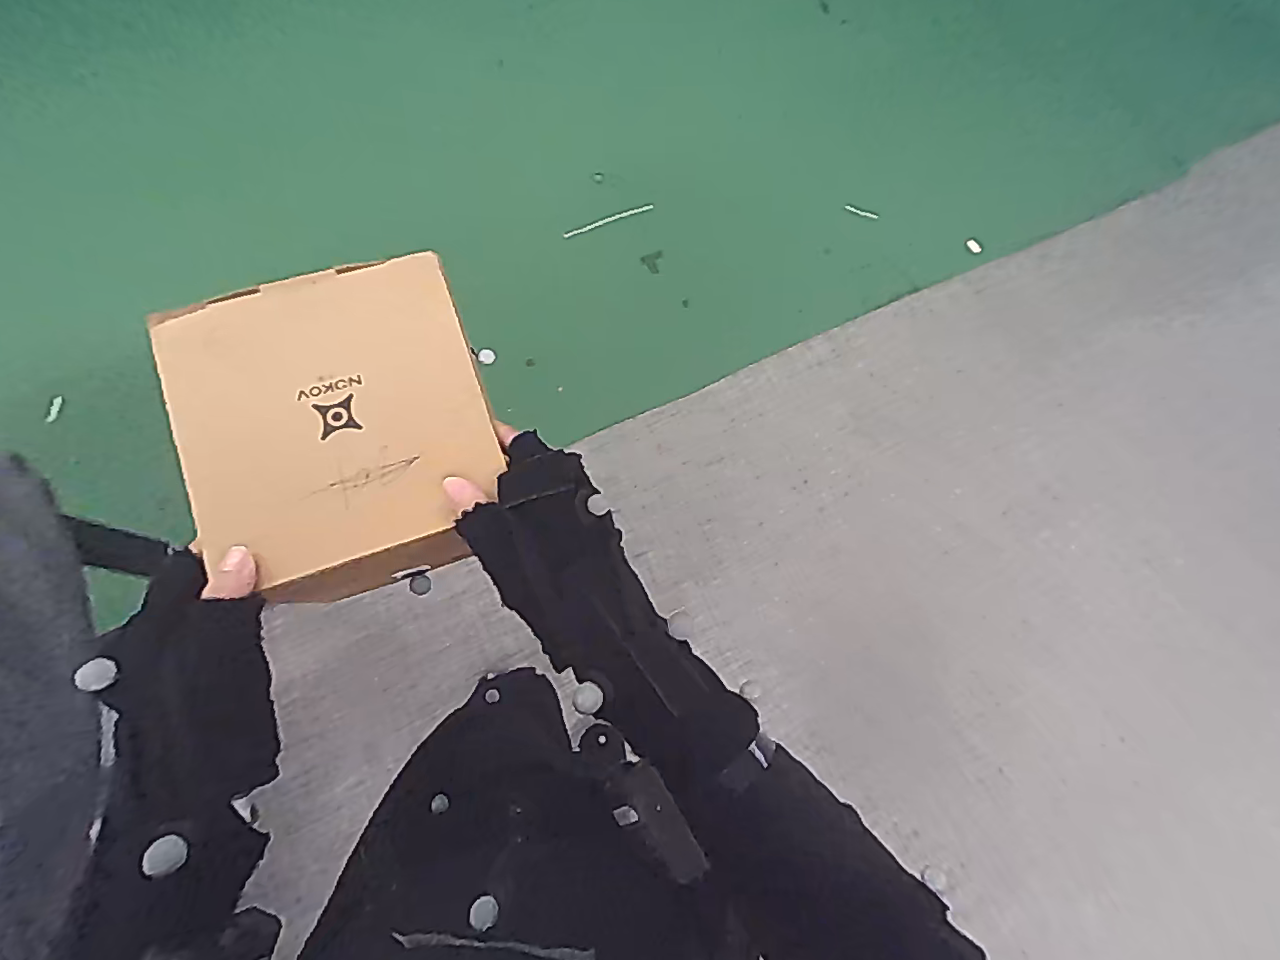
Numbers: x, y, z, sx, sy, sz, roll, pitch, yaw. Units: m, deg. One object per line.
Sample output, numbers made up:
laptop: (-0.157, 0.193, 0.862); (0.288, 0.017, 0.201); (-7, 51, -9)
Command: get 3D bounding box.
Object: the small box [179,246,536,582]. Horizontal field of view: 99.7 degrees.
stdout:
small box: (-0.182, -0.033, 0.400); (0.168, 0.176, 0.179); (-18, 81, -11)
